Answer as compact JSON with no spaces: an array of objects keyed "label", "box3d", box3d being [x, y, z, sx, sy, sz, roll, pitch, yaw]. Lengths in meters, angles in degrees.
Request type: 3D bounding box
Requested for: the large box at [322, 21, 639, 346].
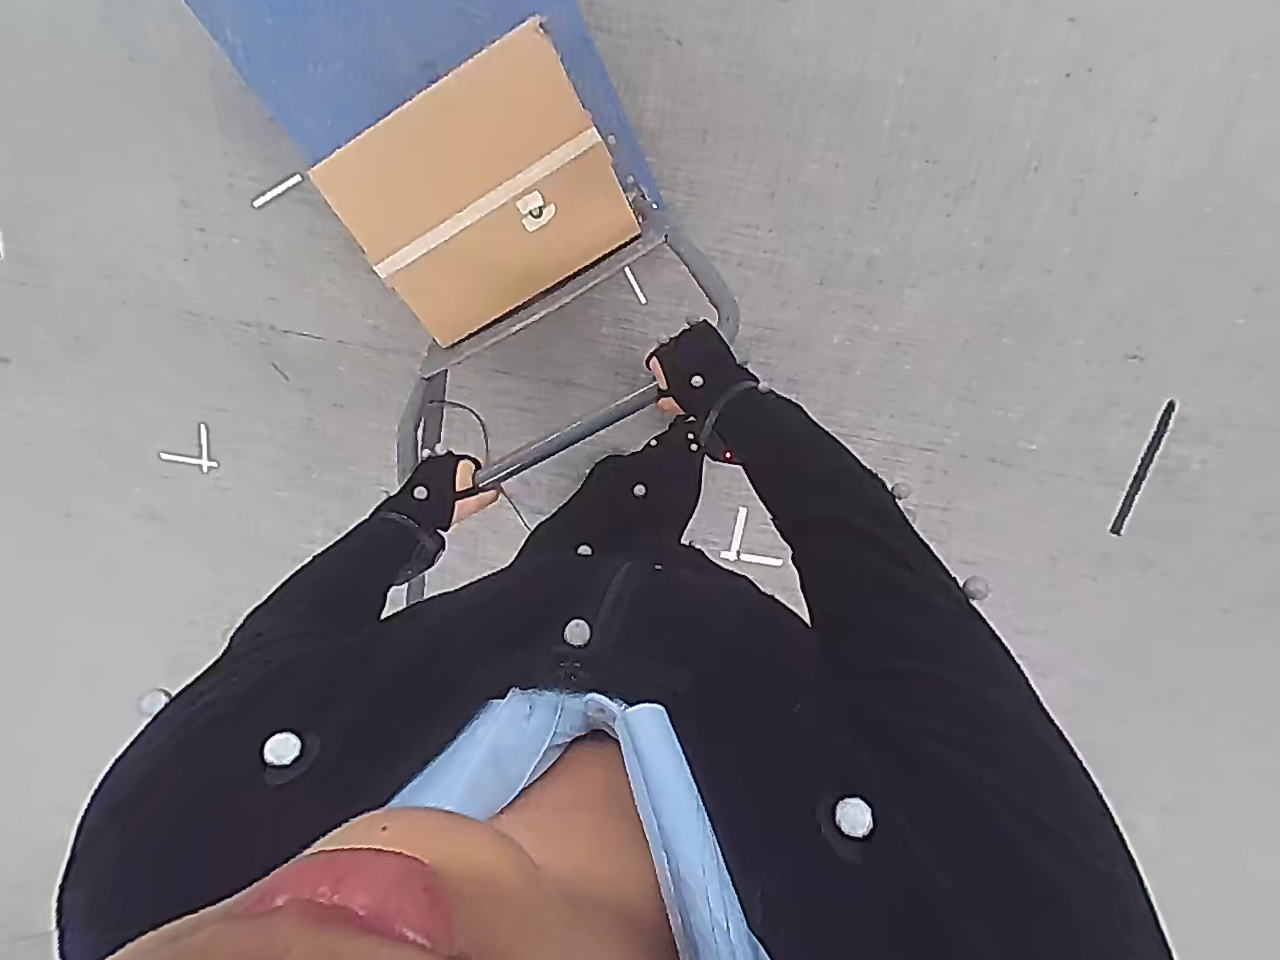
[{"label":"large box","box3d":[-0.263,-0.516,0.986,0.408,0.320,0.320,-29,123,8]}]
